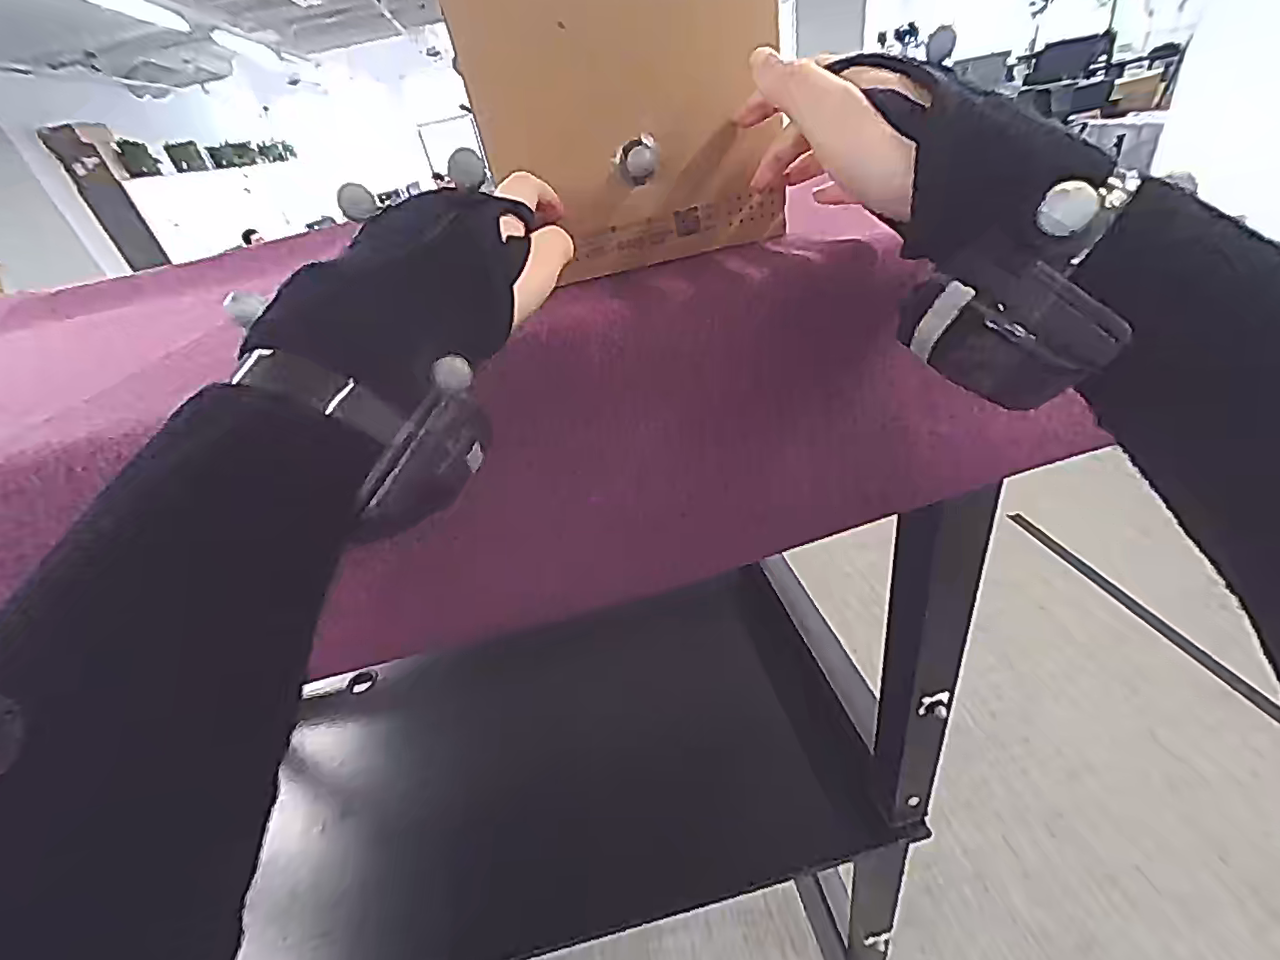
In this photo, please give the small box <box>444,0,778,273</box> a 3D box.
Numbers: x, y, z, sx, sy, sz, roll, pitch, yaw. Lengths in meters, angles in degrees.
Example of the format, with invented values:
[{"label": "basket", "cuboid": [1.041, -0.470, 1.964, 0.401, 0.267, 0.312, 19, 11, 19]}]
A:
[{"label": "small box", "cuboid": [-0.017, -0.248, 0.354, 0.168, 0.176, 0.179, -13, 33, 0]}]
